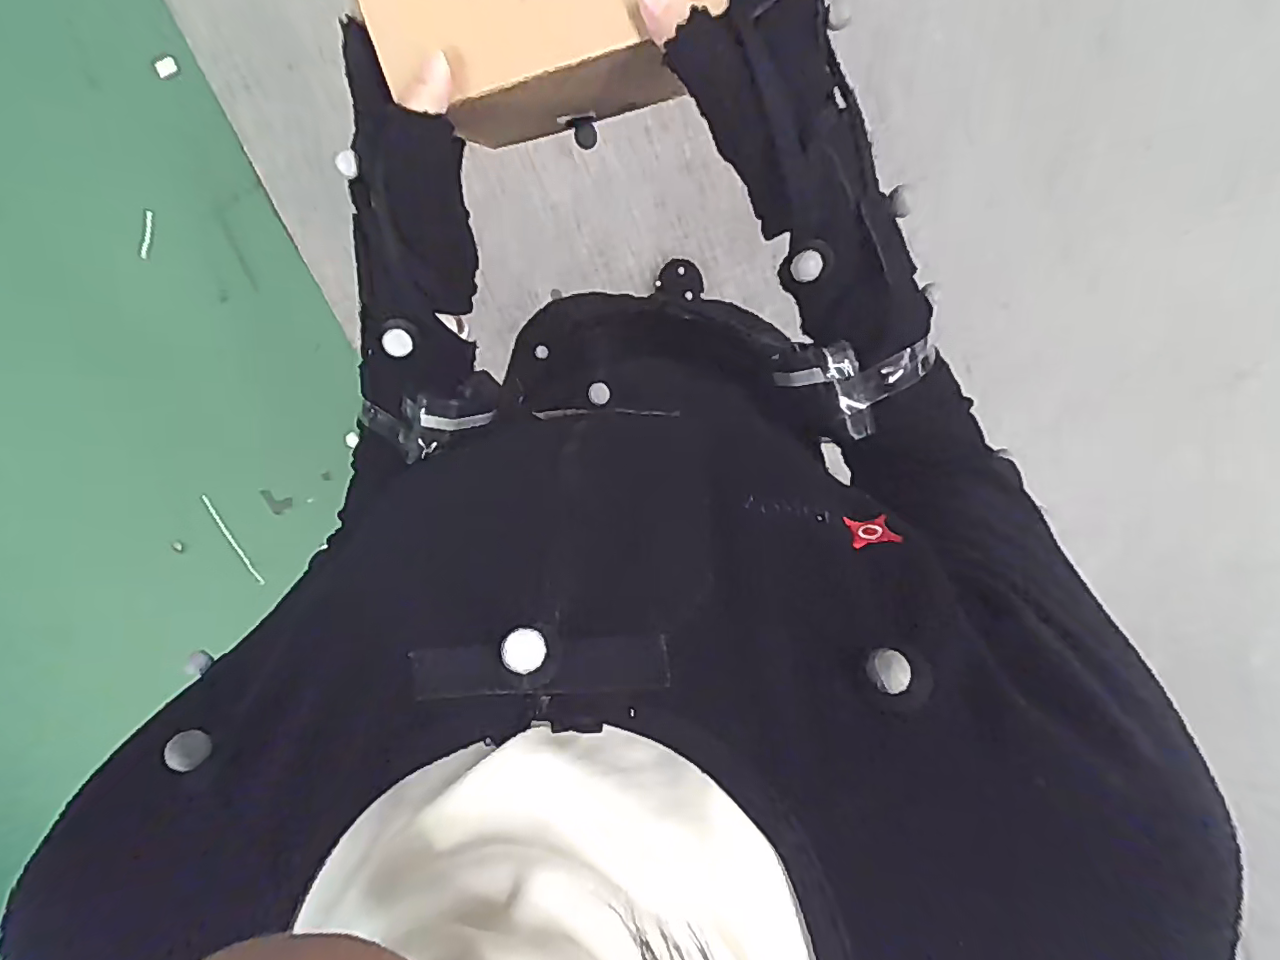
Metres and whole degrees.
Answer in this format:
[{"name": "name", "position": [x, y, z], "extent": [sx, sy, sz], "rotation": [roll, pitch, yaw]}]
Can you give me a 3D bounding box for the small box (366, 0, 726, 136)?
[{"name": "small box", "position": [-0.053, -0.314, 0.291], "extent": [0.168, 0.176, 0.179], "rotation": [-10, 115, 10]}]
